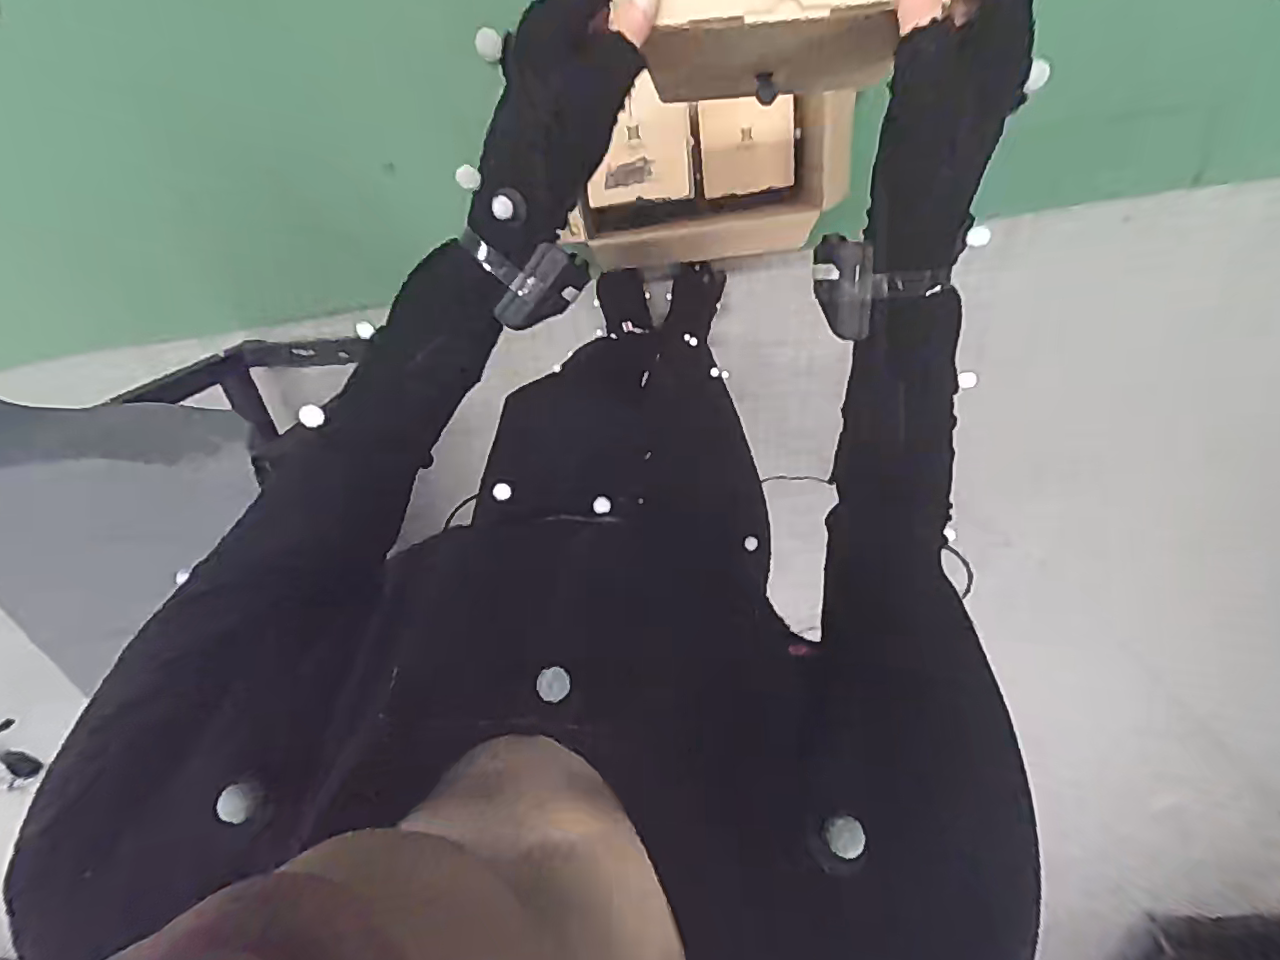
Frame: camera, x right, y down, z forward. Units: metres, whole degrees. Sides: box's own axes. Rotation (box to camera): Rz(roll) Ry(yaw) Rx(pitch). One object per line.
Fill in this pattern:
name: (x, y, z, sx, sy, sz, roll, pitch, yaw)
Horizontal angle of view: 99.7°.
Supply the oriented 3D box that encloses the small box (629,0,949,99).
small box: (0.082, -0.351, 0.316, 0.168, 0.176, 0.179, 1, 114, 7)
